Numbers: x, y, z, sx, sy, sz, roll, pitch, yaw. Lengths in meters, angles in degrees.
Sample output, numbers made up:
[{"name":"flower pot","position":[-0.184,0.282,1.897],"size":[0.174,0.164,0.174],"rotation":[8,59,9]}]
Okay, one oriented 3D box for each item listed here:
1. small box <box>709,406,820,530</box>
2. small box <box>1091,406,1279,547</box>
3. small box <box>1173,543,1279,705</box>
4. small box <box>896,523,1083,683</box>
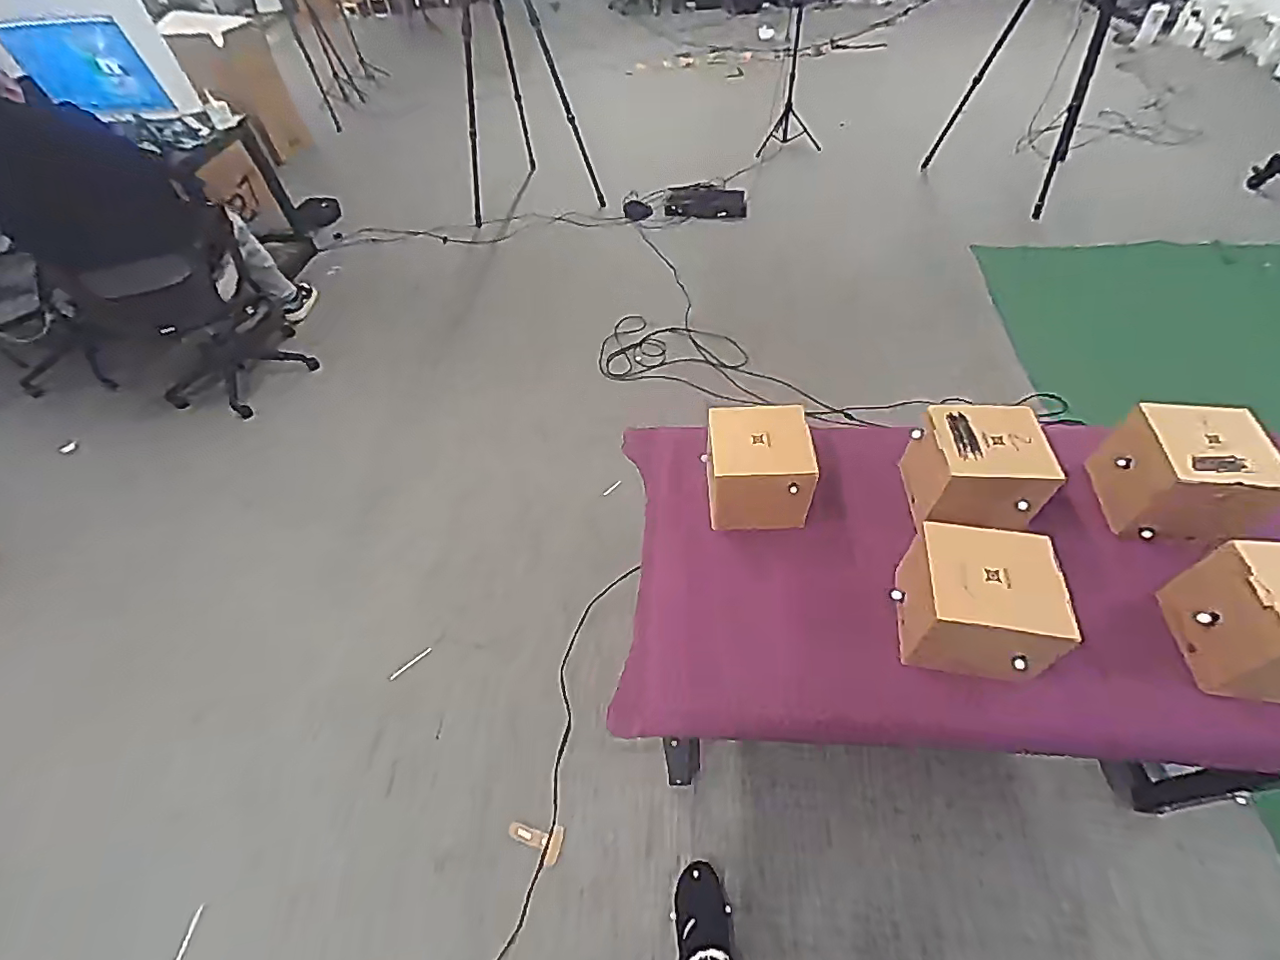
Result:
[{"name":"small box","position":[0.220,-0.018,1.006],"size":[0.179,0.176,0.168],"rotation":[-2,52,3]},{"name":"small box","position":[0.929,-0.003,0.925],"size":[0.168,0.176,0.179],"rotation":[6,51,10]},{"name":"small box","position":[0.911,0.208,0.756],"size":[0.179,0.176,0.168],"rotation":[5,51,10]},{"name":"small box","position":[0.506,0.188,0.813],"size":[0.179,0.176,0.168],"rotation":[7,51,12]}]
